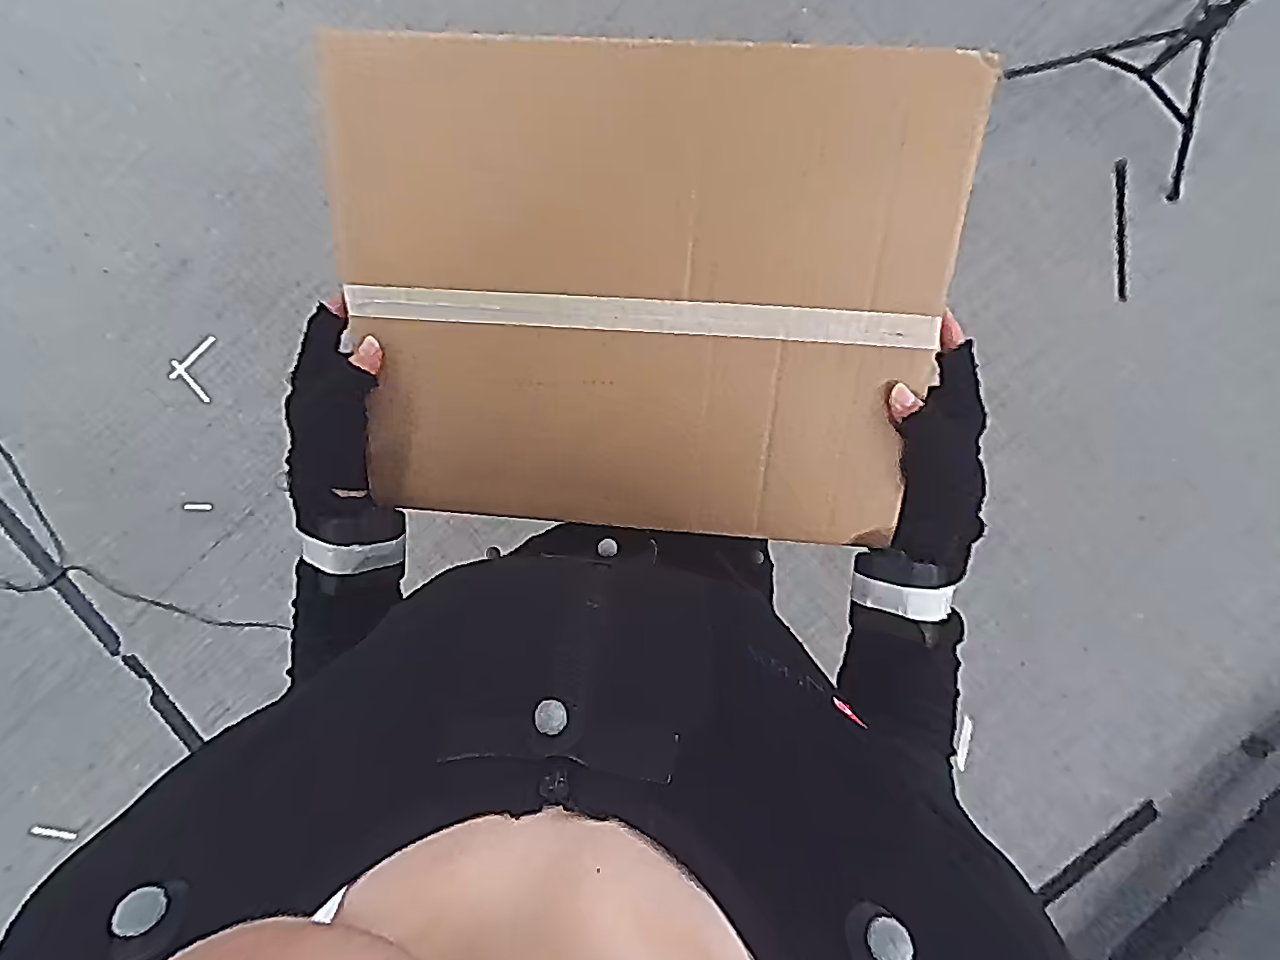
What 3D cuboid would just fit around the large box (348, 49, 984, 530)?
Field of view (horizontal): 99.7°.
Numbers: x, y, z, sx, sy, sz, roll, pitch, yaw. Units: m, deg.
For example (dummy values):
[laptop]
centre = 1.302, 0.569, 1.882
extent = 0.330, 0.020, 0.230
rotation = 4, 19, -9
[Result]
[large box]
centre = 0.012, -0.165, 0.522
extent = 0.408, 0.320, 0.320
rotation = 4, 111, 3
